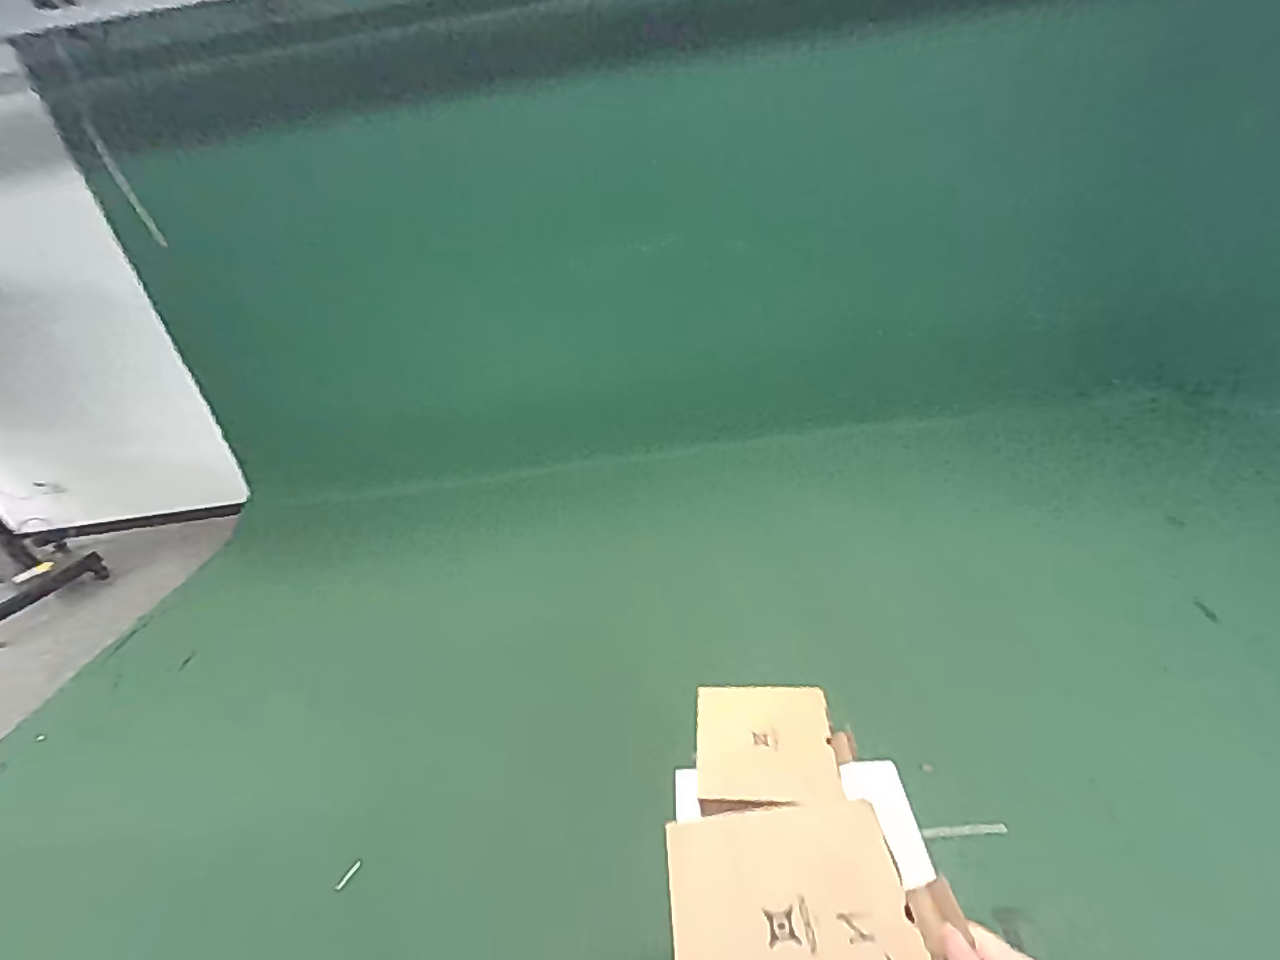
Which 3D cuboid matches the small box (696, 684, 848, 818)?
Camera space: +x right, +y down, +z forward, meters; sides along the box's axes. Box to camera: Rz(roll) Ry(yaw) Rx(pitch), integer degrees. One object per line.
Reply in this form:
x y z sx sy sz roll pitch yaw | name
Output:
0.172 0.399 0.729 0.179 0.176 0.168 -3 29 9 | small box

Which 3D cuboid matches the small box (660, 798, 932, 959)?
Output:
0.118 0.383 0.417 0.179 0.176 0.168 -9 30 3 | small box
